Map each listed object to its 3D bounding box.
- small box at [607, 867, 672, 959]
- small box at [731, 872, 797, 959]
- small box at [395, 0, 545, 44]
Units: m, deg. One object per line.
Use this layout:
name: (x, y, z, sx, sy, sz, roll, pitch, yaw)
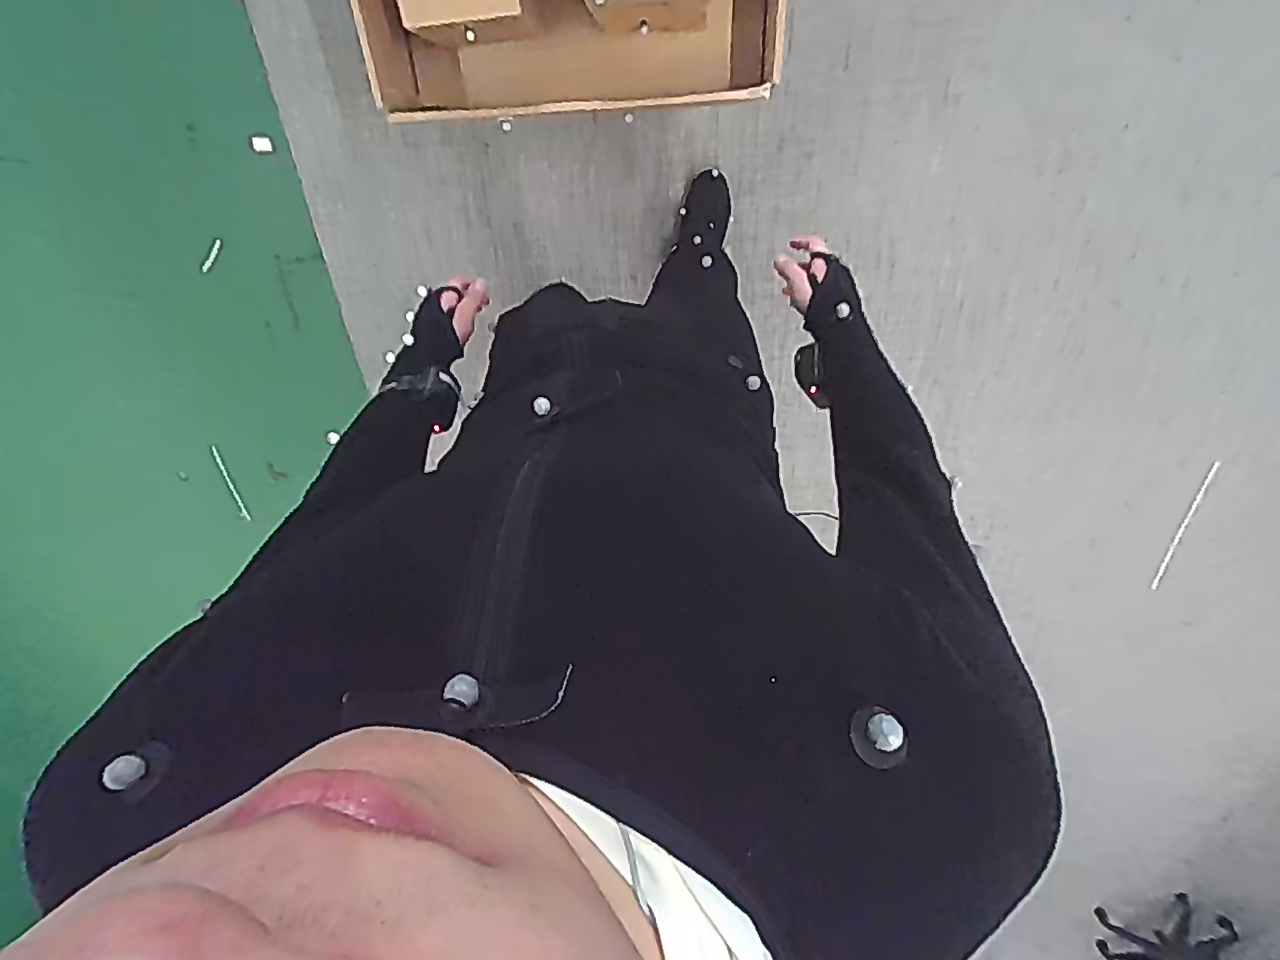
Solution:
small box: (0.003, 1.263, 1.578, 0.168, 0.176, 0.179, -2, 121, 8)
small box: (0.346, 1.248, 1.527, 0.168, 0.176, 0.179, -3, 120, 8)
small box: (-0.248, -0.750, 0.778, 0.179, 0.176, 0.168, -1, 121, 5)
